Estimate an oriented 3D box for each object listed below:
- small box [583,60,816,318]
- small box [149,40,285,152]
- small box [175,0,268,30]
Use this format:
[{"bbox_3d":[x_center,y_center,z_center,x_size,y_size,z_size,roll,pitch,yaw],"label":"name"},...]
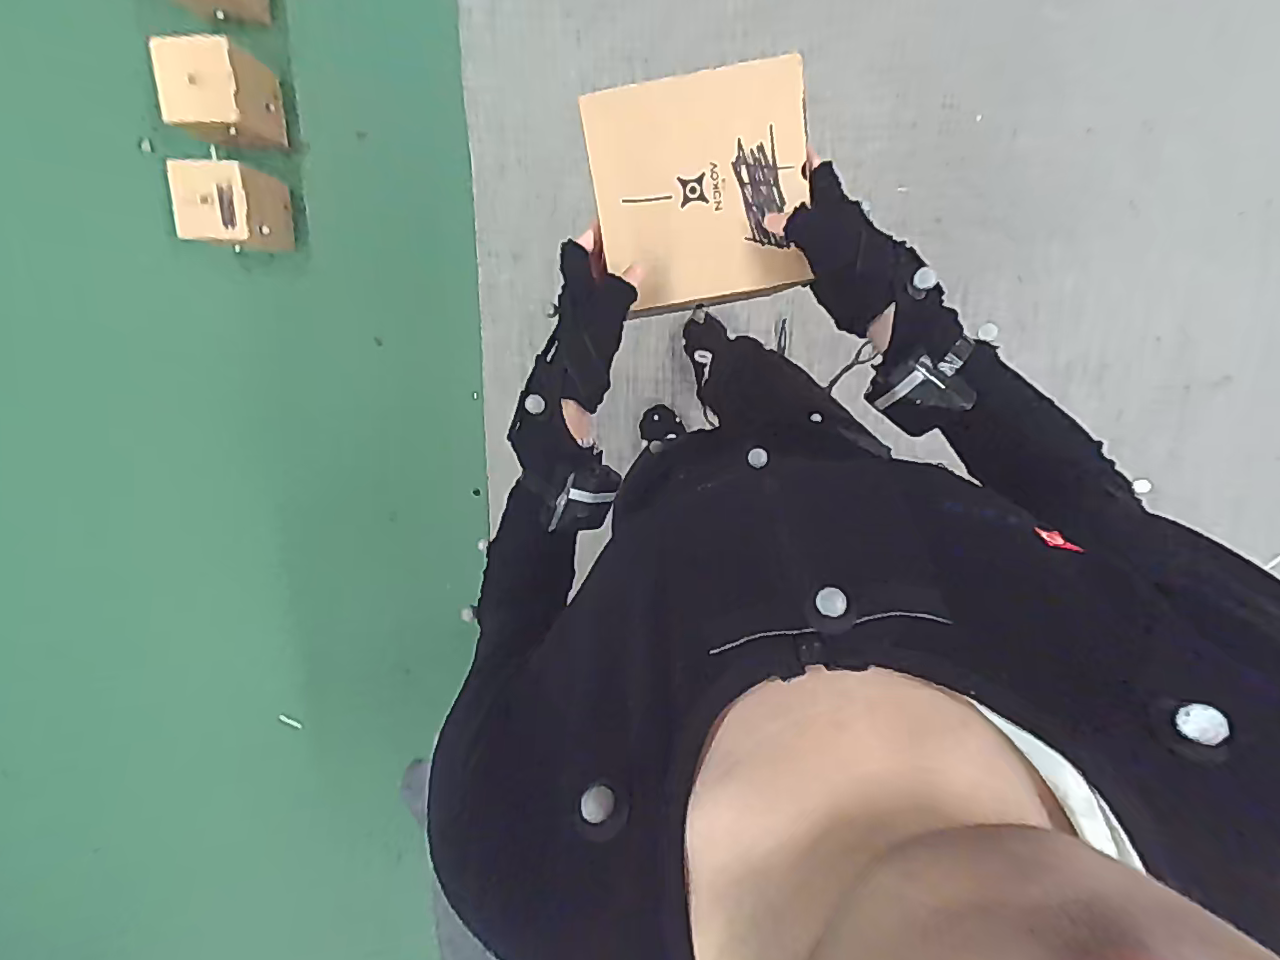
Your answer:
[{"bbox_3d":[0.049,-0.252,0.511,0.179,0.176,0.168,-9,103,1],"label":"small box"},{"bbox_3d":[-0.978,-0.888,1.264,0.179,0.176,0.168,0,102,1],"label":"small box"},{"bbox_3d":[-0.969,-1.156,1.205,0.168,0.176,0.179,3,102,1],"label":"small box"}]
